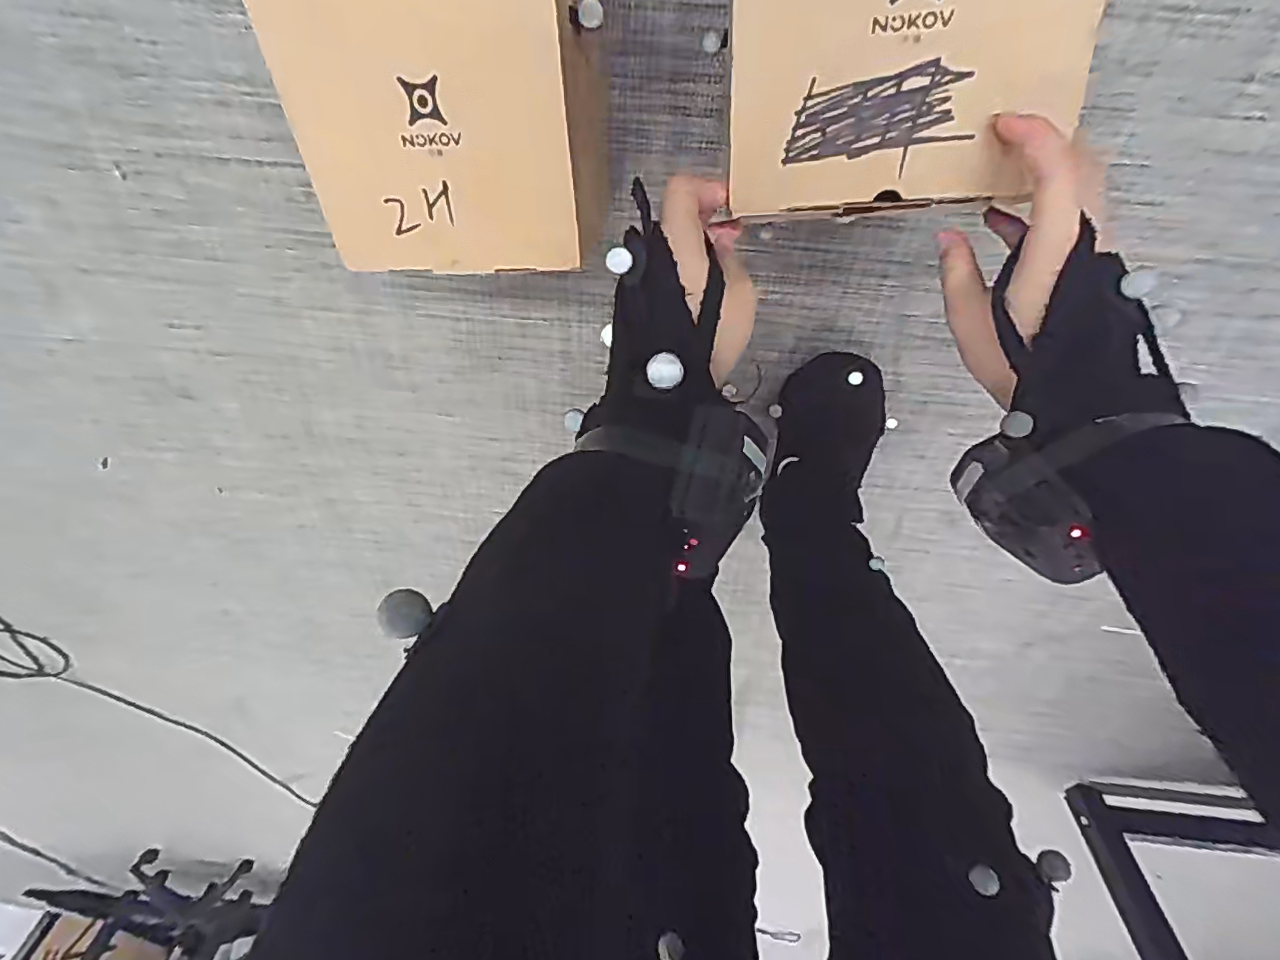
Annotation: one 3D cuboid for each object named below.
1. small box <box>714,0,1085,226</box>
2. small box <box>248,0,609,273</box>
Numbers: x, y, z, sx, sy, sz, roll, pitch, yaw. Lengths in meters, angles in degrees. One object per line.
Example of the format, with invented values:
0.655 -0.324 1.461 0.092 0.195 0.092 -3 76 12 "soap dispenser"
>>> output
0.131 -0.253 0.327 0.168 0.176 0.179 1 113 7 "small box"
-0.116 -0.259 0.374 0.168 0.176 0.179 2 131 6 "small box"
